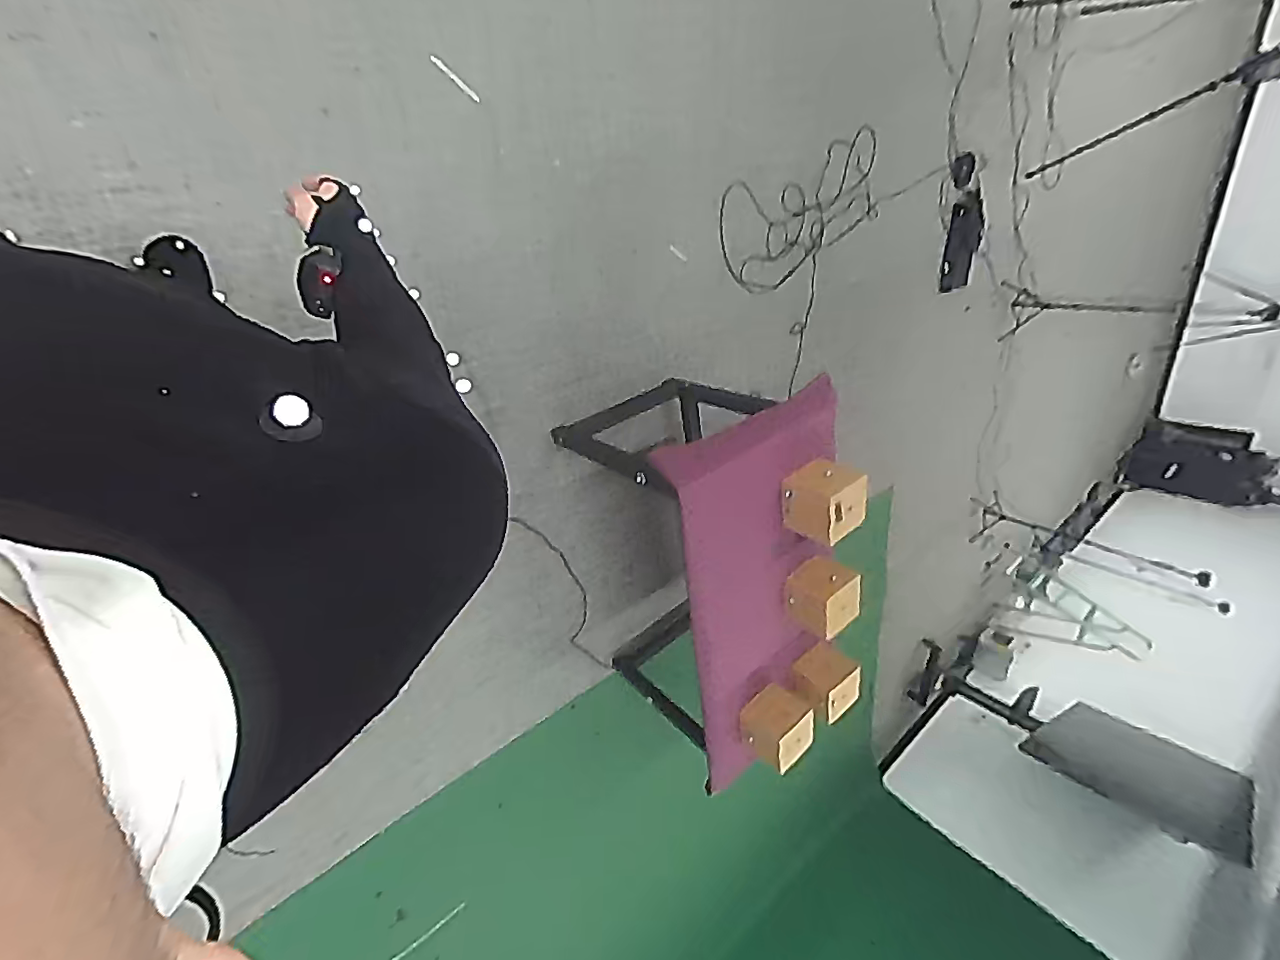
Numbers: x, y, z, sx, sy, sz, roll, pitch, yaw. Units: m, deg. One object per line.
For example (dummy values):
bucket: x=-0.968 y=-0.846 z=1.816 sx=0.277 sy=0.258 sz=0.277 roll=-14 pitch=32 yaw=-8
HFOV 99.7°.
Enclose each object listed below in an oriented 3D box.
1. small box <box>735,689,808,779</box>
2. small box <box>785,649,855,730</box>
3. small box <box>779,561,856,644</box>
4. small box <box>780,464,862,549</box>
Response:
small box: x=0.439 y=0.837 z=1.803 sx=0.179 sy=0.176 sz=0.168 roll=-25 pitch=120 yaw=-32
small box: x=0.643 y=0.740 z=1.937 sx=0.179 sy=0.176 sz=0.168 roll=-26 pitch=121 yaw=-29
small box: x=0.574 y=0.390 z=1.752 sx=0.179 sy=0.176 sz=0.168 roll=-25 pitch=120 yaw=-30
small box: x=0.526 y=0.073 z=1.590 sx=0.179 sy=0.176 sz=0.168 roll=-27 pitch=122 yaw=-30
